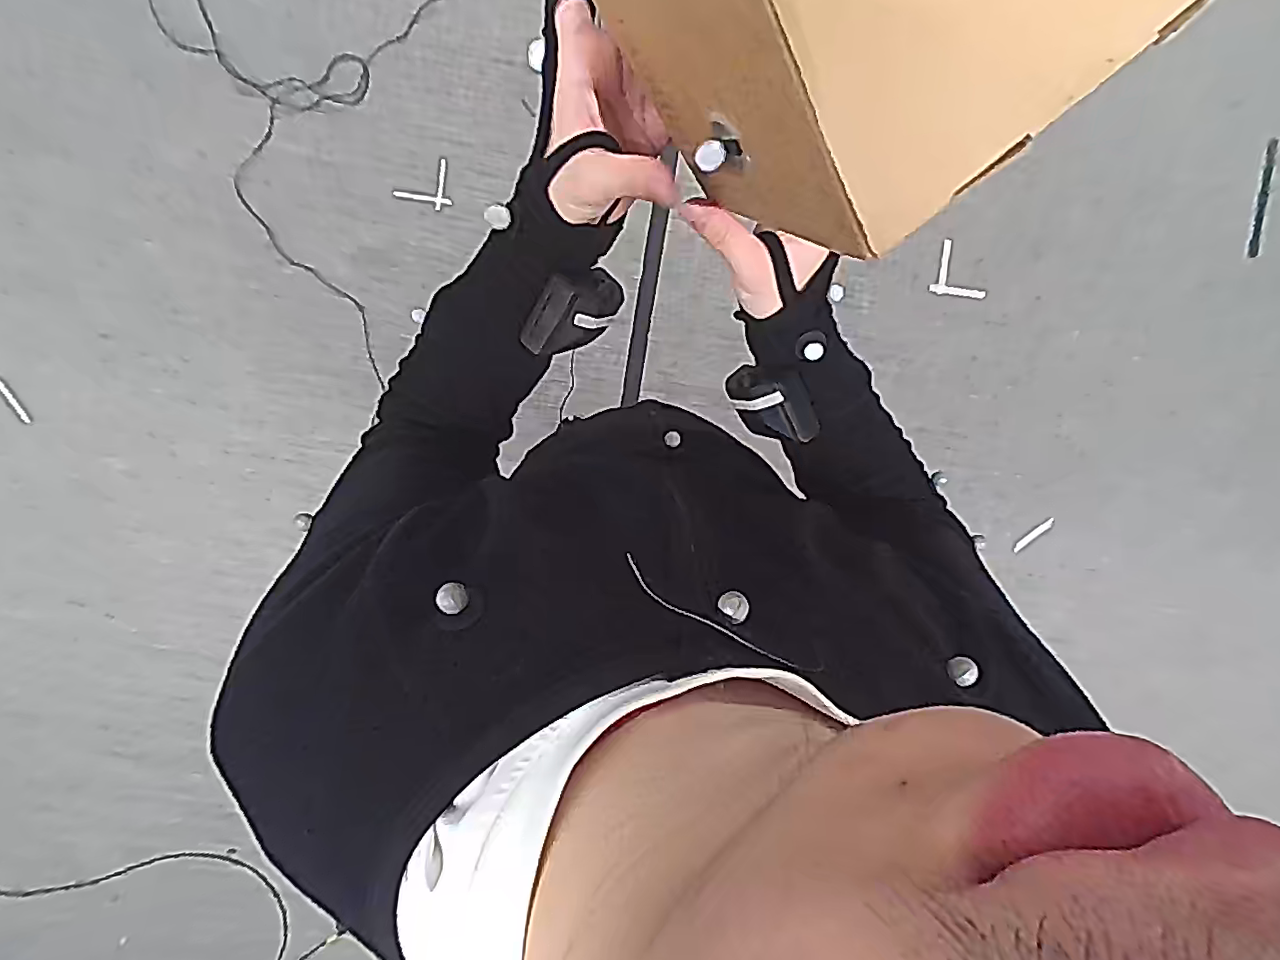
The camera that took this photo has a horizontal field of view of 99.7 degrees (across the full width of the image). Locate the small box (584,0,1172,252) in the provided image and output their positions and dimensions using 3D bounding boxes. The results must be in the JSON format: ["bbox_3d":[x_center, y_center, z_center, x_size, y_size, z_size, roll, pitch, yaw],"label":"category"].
[{"bbox_3d":[0.071,-0.223,0.199,0.168,0.176,0.179,-39,125,10],"label":"small box"}]
